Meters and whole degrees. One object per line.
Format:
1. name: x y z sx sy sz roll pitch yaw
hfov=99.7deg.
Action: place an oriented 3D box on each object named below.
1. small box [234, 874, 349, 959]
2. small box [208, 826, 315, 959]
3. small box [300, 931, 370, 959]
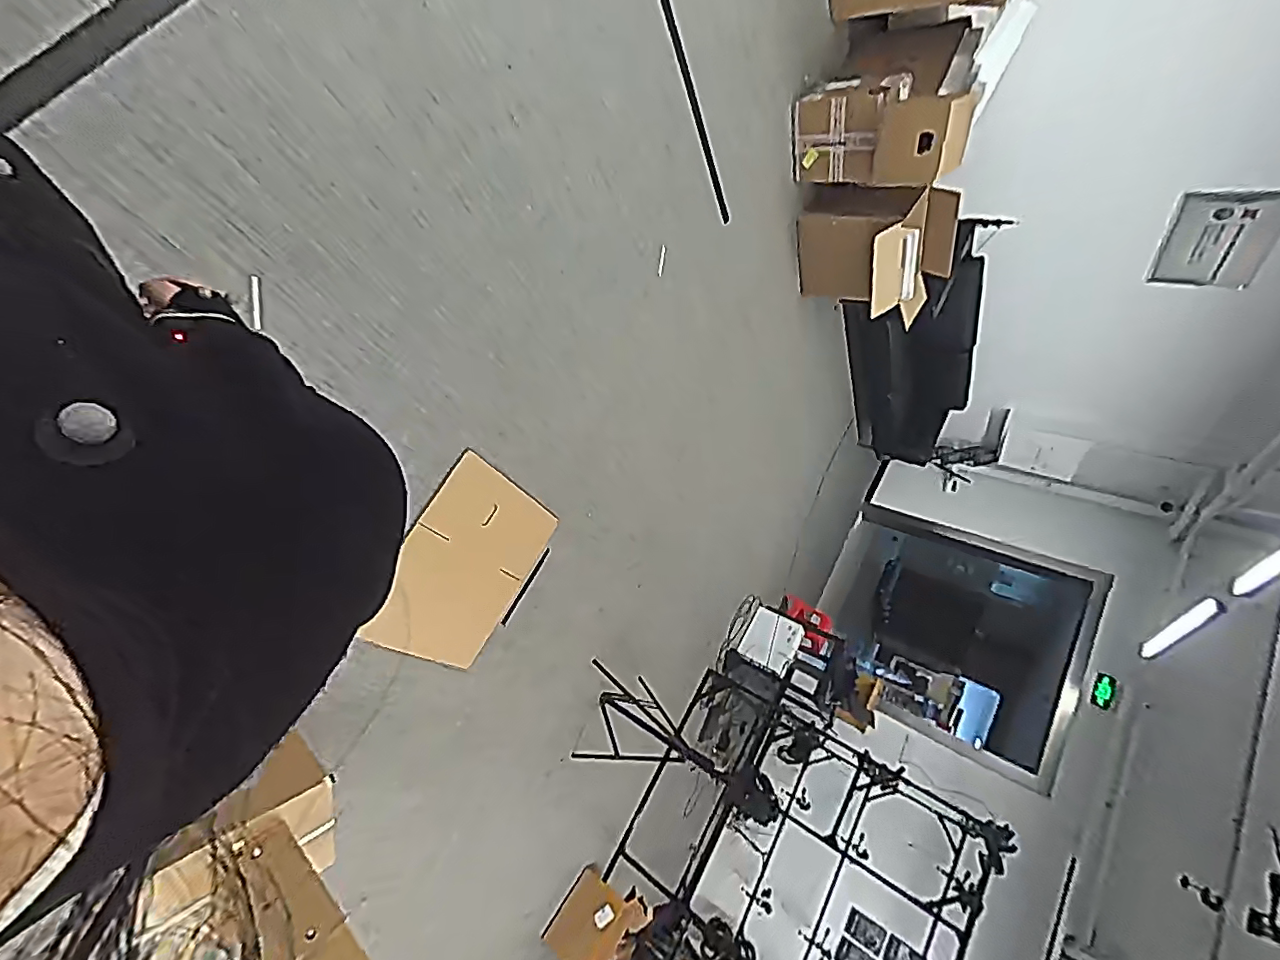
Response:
1. small box: -0.756 1.022 1.178 0.168 0.176 0.179 -15 119 -51
2. small box: -0.883 0.972 1.269 0.168 0.176 0.179 -15 118 -51
3. small box: -0.632 1.067 1.083 0.168 0.176 0.179 -15 119 -51
